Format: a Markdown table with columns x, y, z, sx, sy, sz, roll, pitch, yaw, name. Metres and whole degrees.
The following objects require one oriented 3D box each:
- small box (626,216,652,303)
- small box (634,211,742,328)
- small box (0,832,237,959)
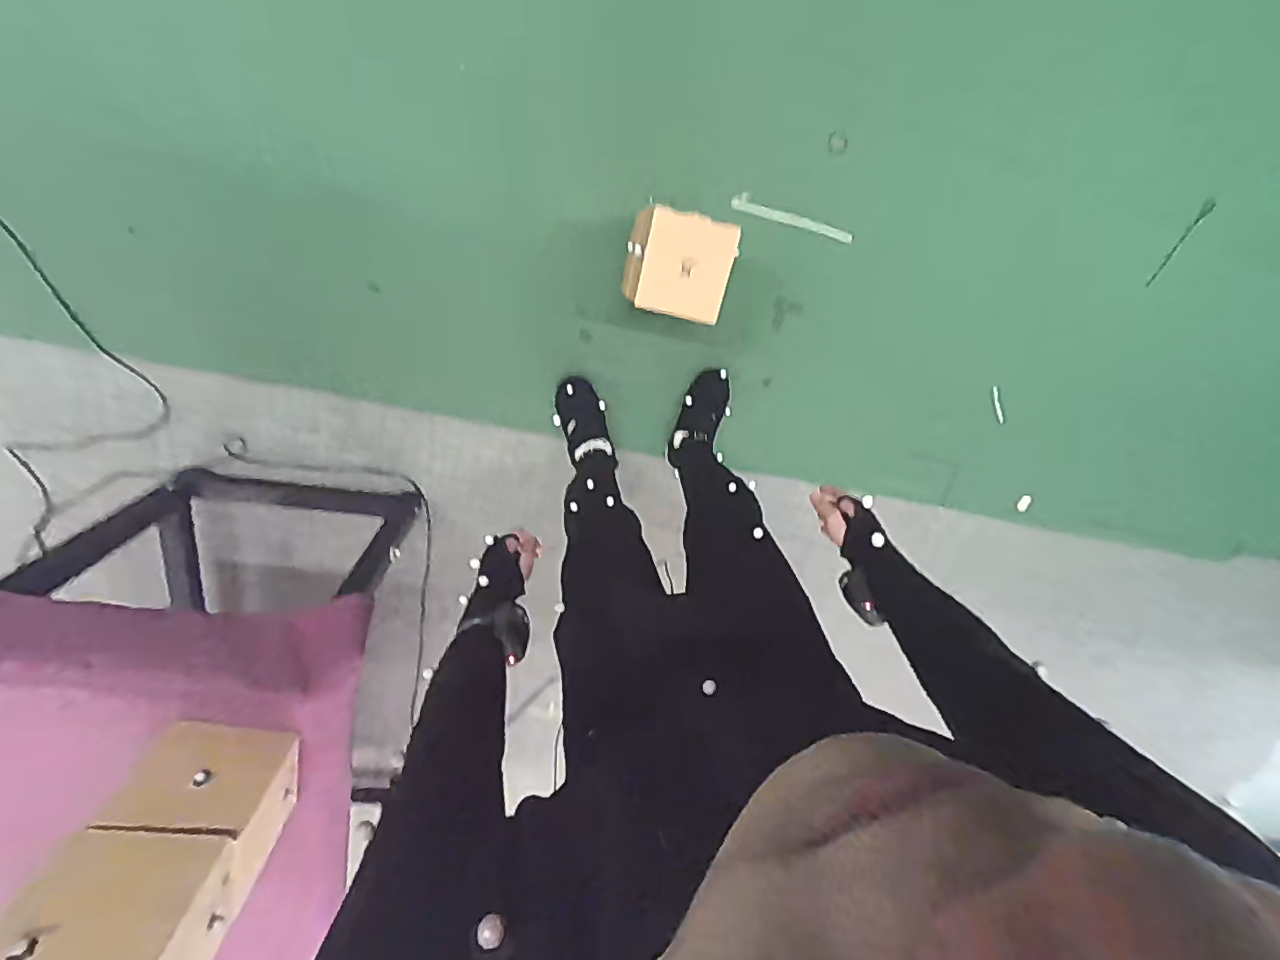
| x | y | z | sx | sy | sz | roll | pitch | yaw | name |
| --- | --- | --- | --- | --- | --- | --- | --- | --- | --- |
| 0.067 | -0.481 | 1.224 | 0.168 | 0.176 | 0.179 | 10 | 113 | -10 | small box |
| 0.085 | -0.417 | 1.078 | 0.168 | 0.176 | 0.179 | 10 | 111 | -9 | small box |
| -0.607 | 0.540 | 0.620 | 0.179 | 0.176 | 0.168 | 12 | 113 | -10 | small box |
